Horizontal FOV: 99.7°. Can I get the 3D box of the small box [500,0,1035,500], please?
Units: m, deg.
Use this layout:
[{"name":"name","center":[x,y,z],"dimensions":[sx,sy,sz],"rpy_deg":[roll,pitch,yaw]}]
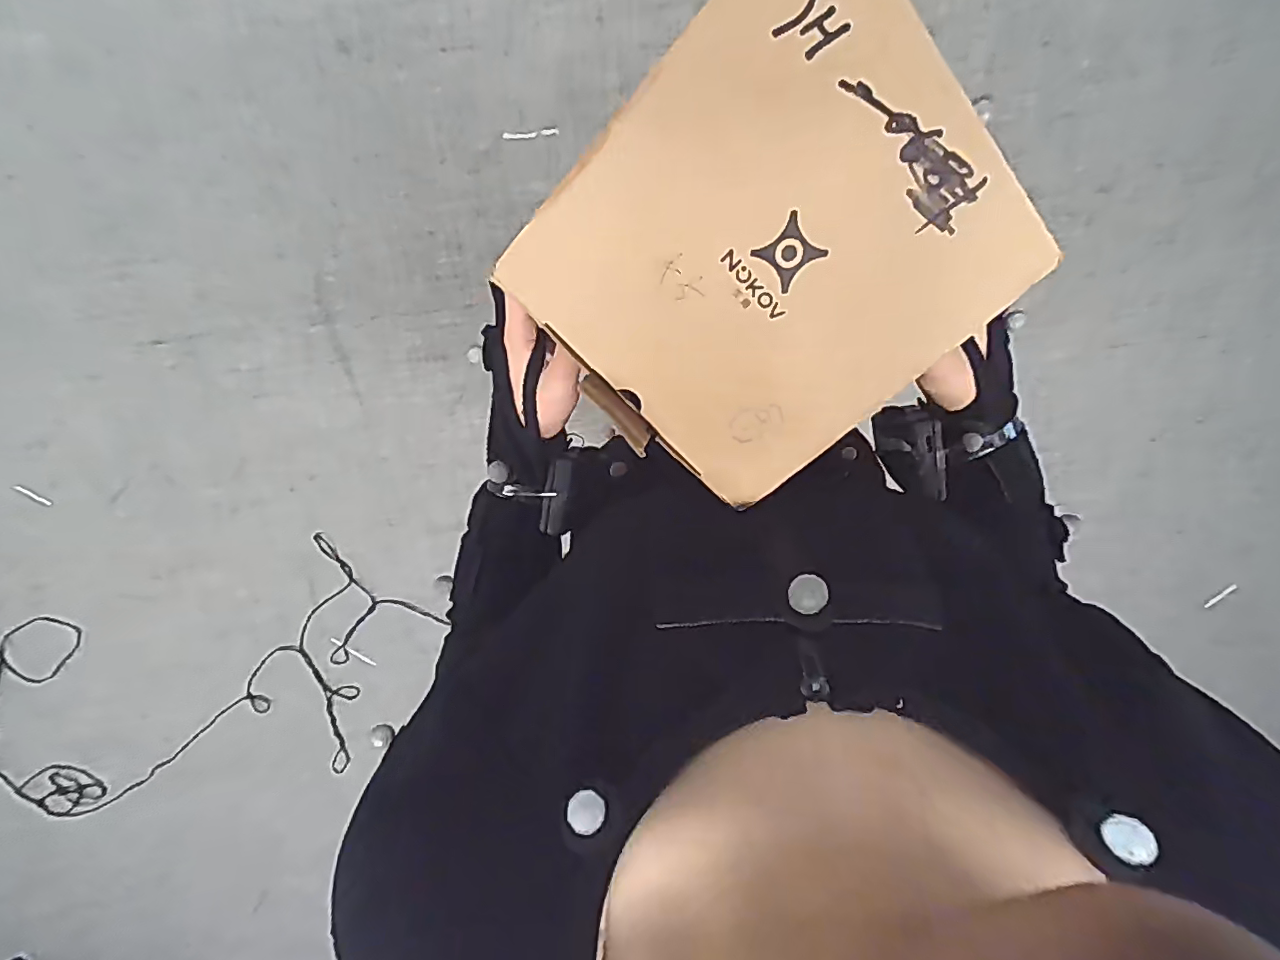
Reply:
[{"name":"small box","center":[0.056,-0.128,0.306],"dimensions":[0.168,0.176,0.179],"rpy_deg":[42,112,-18]}]
